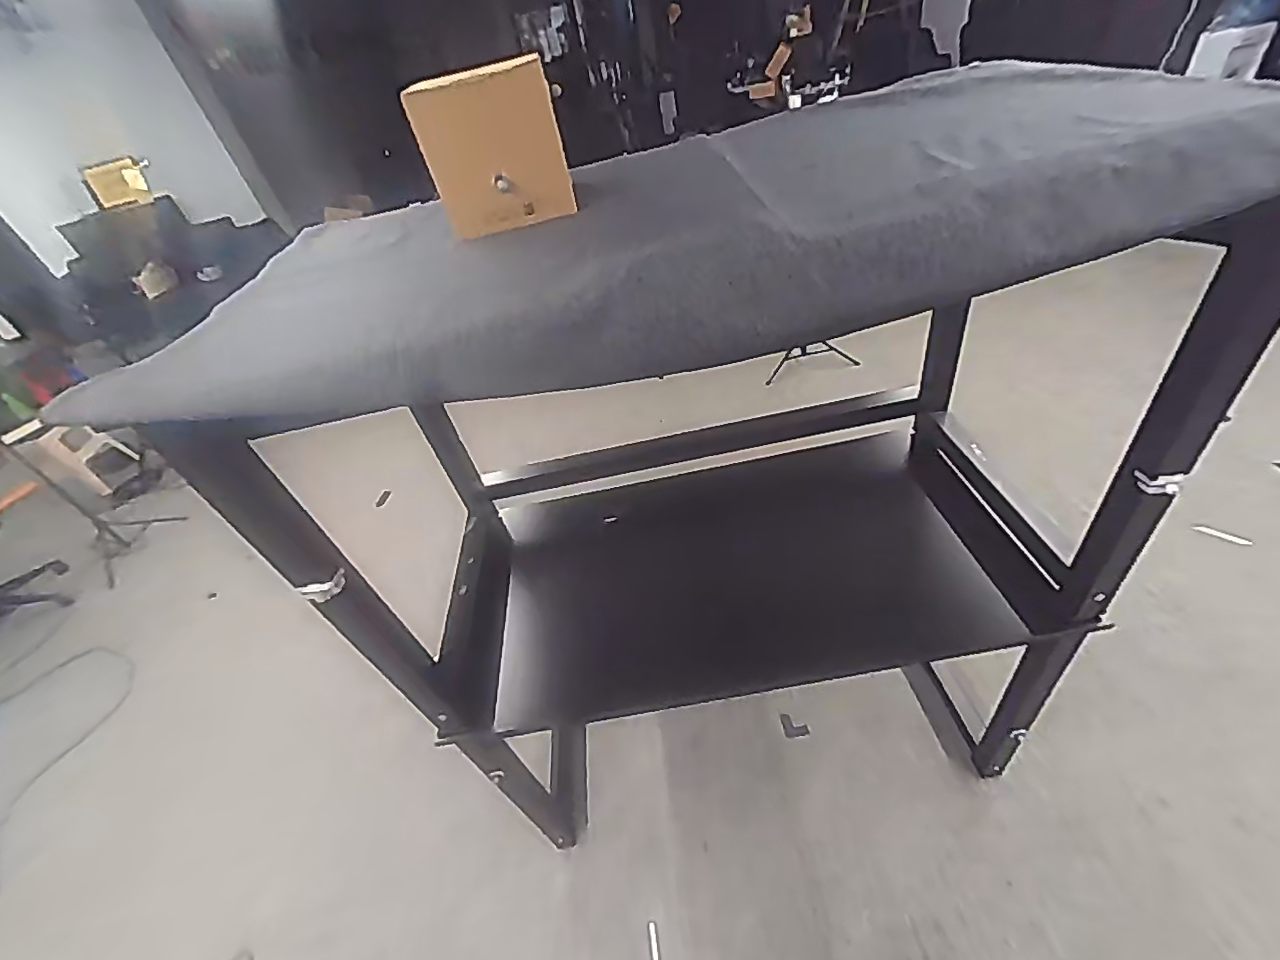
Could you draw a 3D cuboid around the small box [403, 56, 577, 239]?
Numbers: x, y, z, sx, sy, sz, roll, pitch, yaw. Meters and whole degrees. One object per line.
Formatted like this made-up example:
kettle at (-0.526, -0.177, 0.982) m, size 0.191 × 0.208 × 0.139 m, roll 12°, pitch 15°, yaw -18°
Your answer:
small box at (-0.188, -0.447, 0.729) m, size 0.168 × 0.176 × 0.179 m, roll -14°, pitch 41°, yaw 1°
